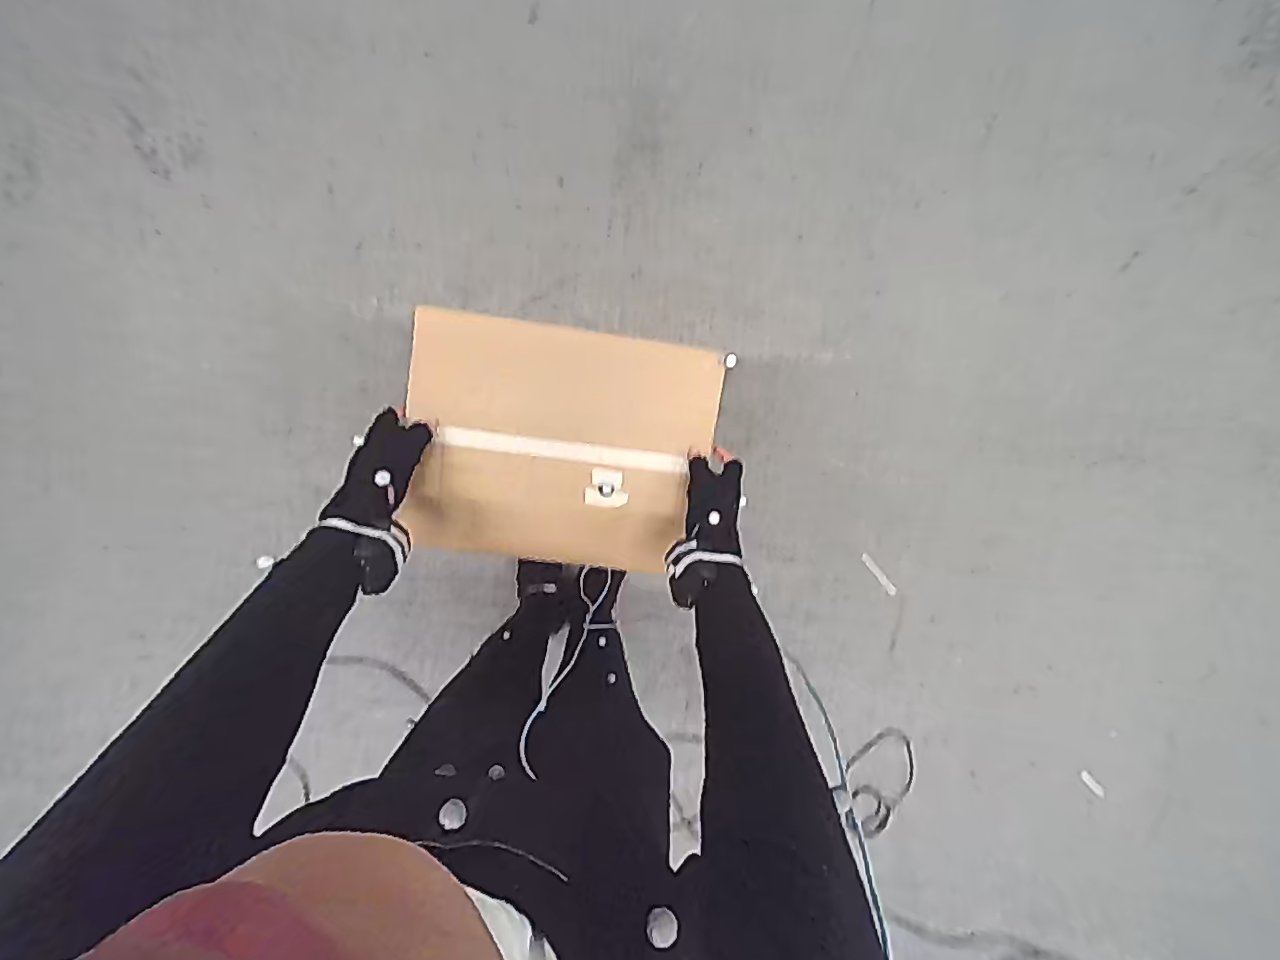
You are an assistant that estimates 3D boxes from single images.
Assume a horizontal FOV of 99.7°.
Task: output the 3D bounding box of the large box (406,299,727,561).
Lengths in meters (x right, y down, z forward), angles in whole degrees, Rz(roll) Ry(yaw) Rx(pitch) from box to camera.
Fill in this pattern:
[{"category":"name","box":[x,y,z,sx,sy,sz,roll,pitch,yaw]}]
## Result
[{"category":"large box","box":[-0.111,-0.076,0.864,0.408,0.320,0.320,7,98,-6]}]
